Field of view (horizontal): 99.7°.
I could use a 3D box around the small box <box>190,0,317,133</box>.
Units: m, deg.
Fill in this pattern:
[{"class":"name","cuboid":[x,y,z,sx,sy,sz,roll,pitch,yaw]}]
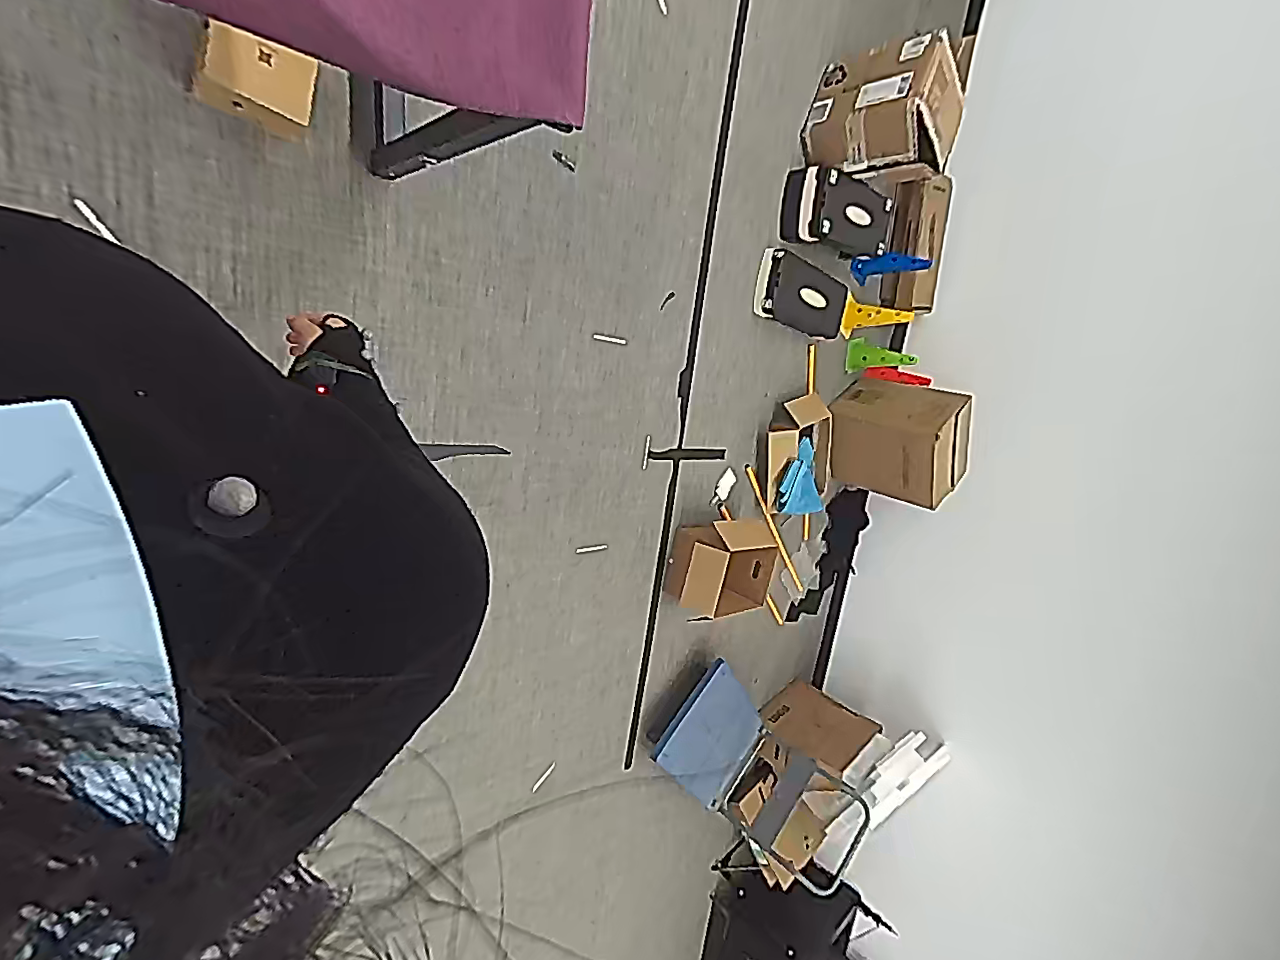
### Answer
[{"class":"small box","cuboid":[-0.754,-0.814,1.051,0.168,0.176,0.179,7,99,-46]}]
